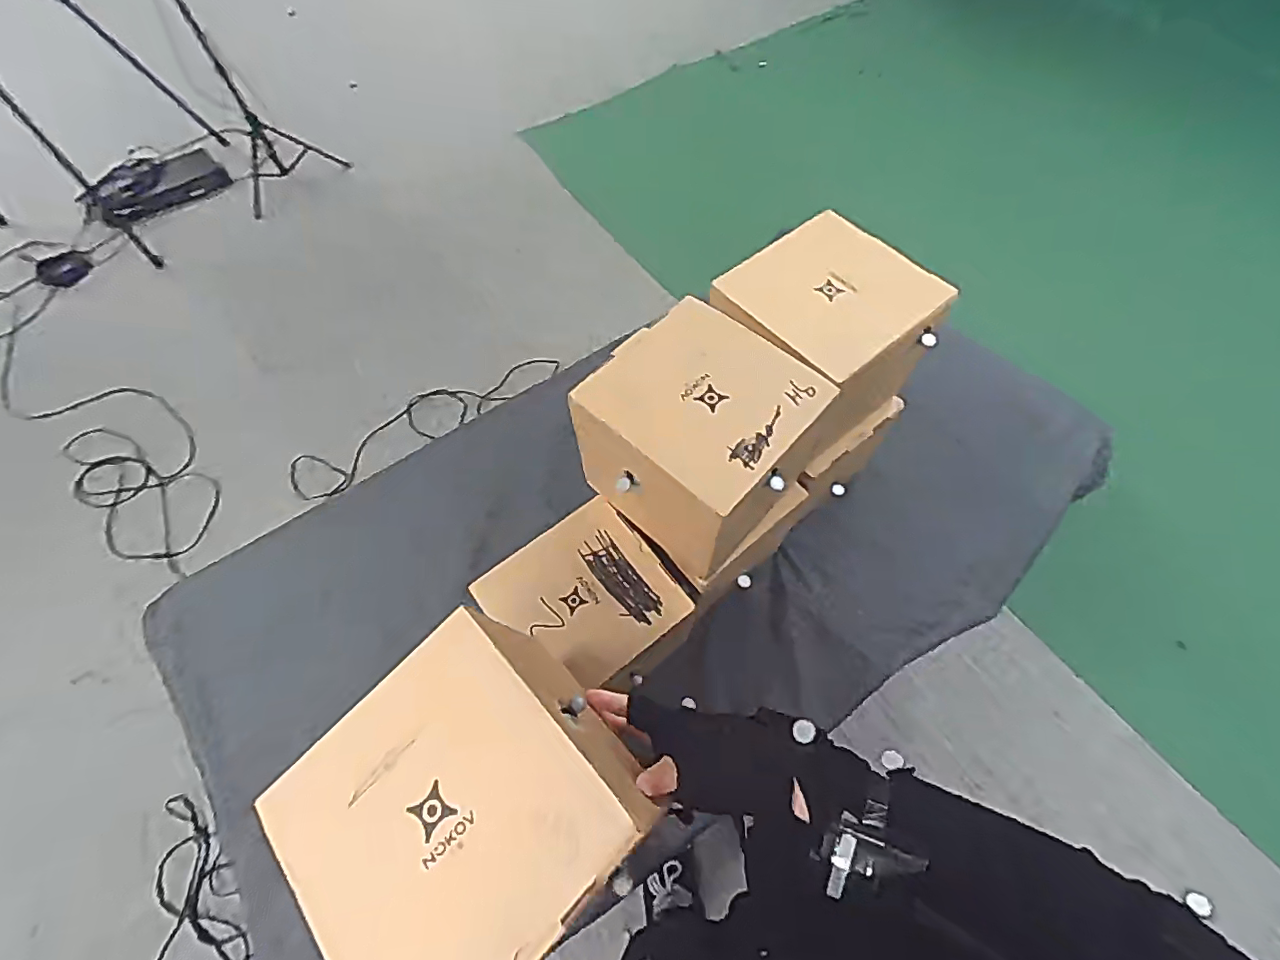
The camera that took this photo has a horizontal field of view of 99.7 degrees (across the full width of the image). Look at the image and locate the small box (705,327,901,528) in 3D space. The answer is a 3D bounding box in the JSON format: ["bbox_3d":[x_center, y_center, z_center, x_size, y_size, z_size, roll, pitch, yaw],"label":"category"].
[{"bbox_3d":[0.205,-0.065,0.737,0.168,0.176,0.179,-36,67,-15],"label":"small box"}]

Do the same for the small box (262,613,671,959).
[{"bbox_3d":[-0.095,0.221,0.371,0.168,0.176,0.179,-43,67,-11],"label":"small box"}]
